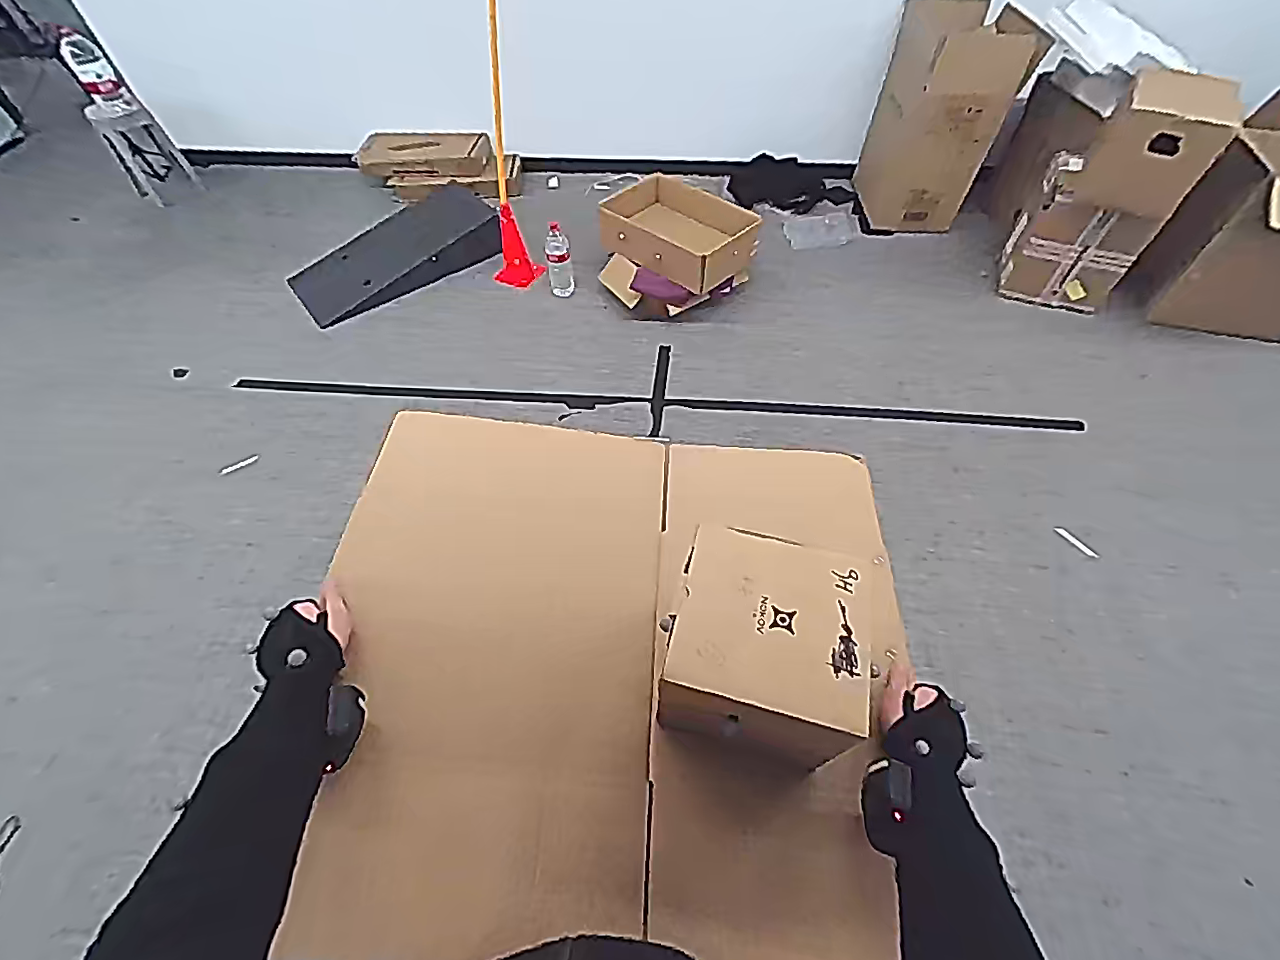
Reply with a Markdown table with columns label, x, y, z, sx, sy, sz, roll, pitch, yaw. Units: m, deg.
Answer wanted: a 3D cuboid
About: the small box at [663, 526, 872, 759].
| label | x | y | z | sx | sy | sz | roll | pitch | yaw |
| --- | --- | --- | --- | --- | --- | --- | --- | --- | --- |
| small box | 0.127 | 0.174 | 0.568 | 0.179 | 0.176 | 0.168 | 12 | 55 | 10 |
